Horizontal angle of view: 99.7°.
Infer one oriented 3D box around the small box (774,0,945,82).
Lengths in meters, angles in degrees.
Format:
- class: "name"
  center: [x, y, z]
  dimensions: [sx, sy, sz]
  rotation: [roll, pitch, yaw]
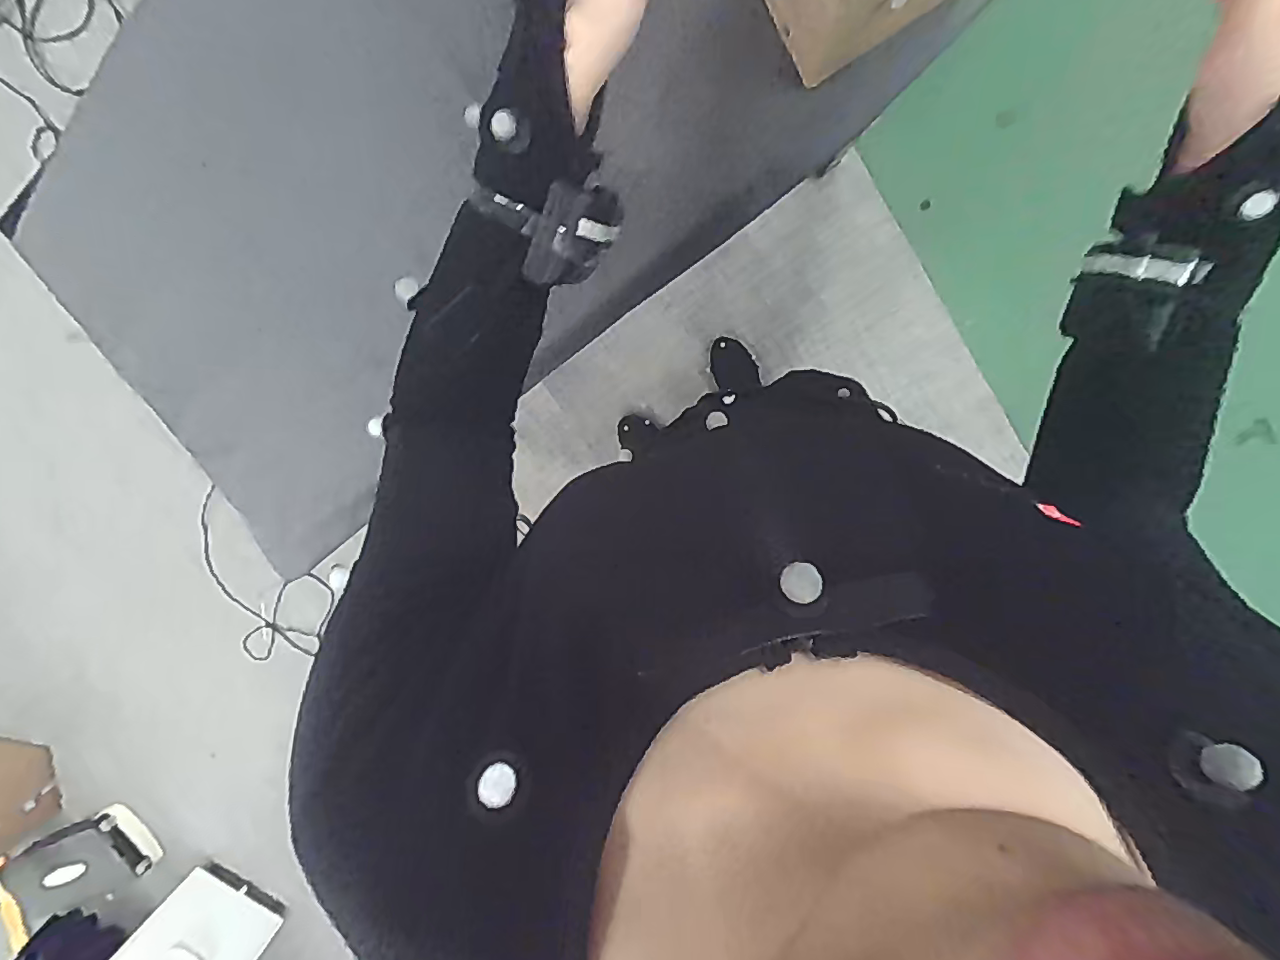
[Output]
- class: "small box"
  center: [0.213, -0.526, 0.500]
  dimensions: [0.179, 0.176, 0.168]
  rotation: [-28, 98, 14]
